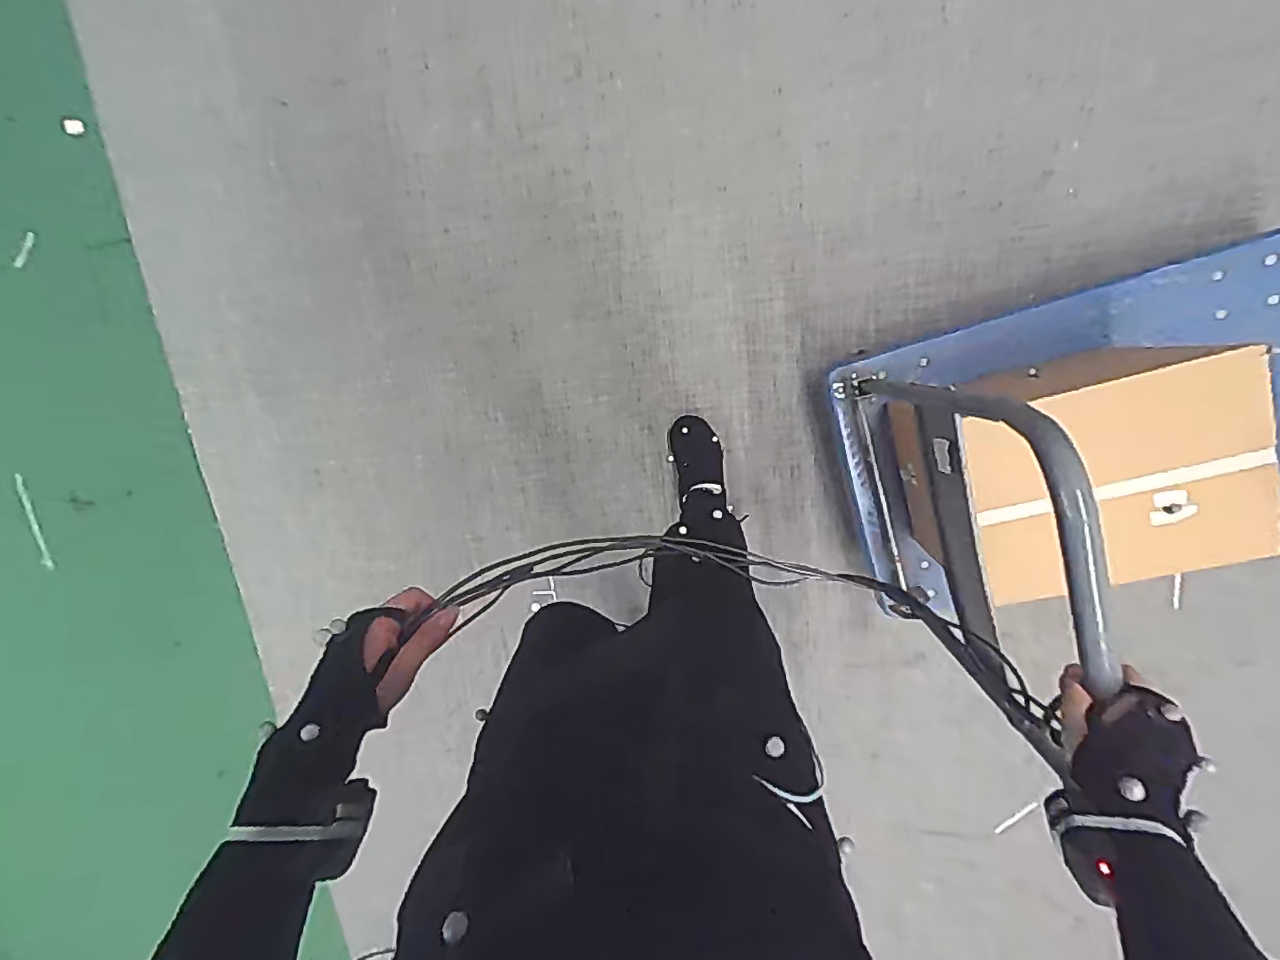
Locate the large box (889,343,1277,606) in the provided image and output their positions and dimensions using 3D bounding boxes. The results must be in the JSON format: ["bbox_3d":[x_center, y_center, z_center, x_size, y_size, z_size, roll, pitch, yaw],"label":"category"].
[{"bbox_3d":[0.712,-0.023,0.940,0.408,0.320,0.320,-15,101,11],"label":"large box"}]
